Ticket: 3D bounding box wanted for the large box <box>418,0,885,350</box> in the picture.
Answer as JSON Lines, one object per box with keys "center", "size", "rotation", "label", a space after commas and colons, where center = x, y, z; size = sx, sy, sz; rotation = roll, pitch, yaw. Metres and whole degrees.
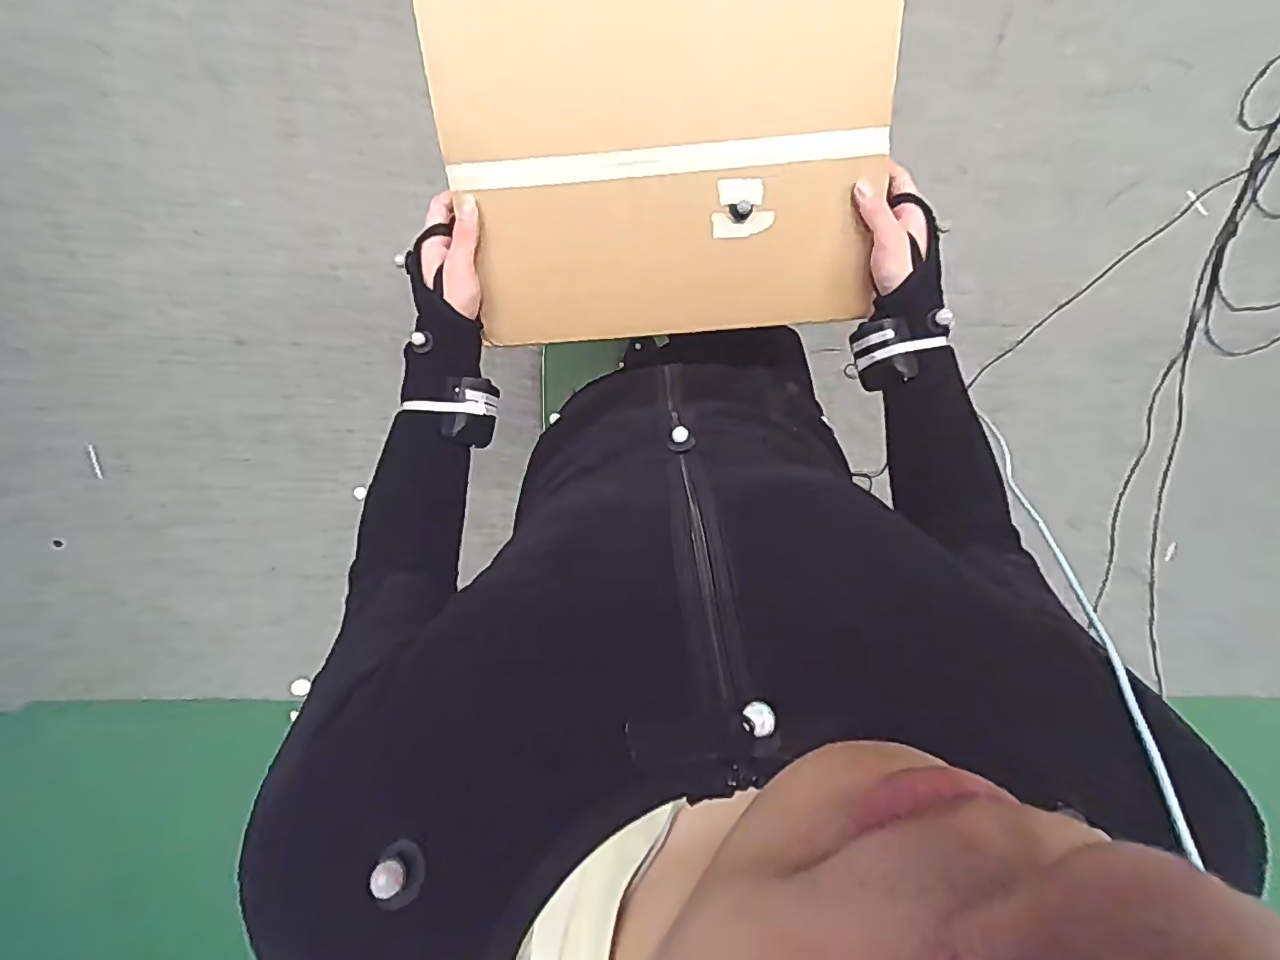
{"center": [0.017, -0.356, 0.644], "size": [0.408, 0.320, 0.320], "rotation": [-5, 115, 0], "label": "large box"}
